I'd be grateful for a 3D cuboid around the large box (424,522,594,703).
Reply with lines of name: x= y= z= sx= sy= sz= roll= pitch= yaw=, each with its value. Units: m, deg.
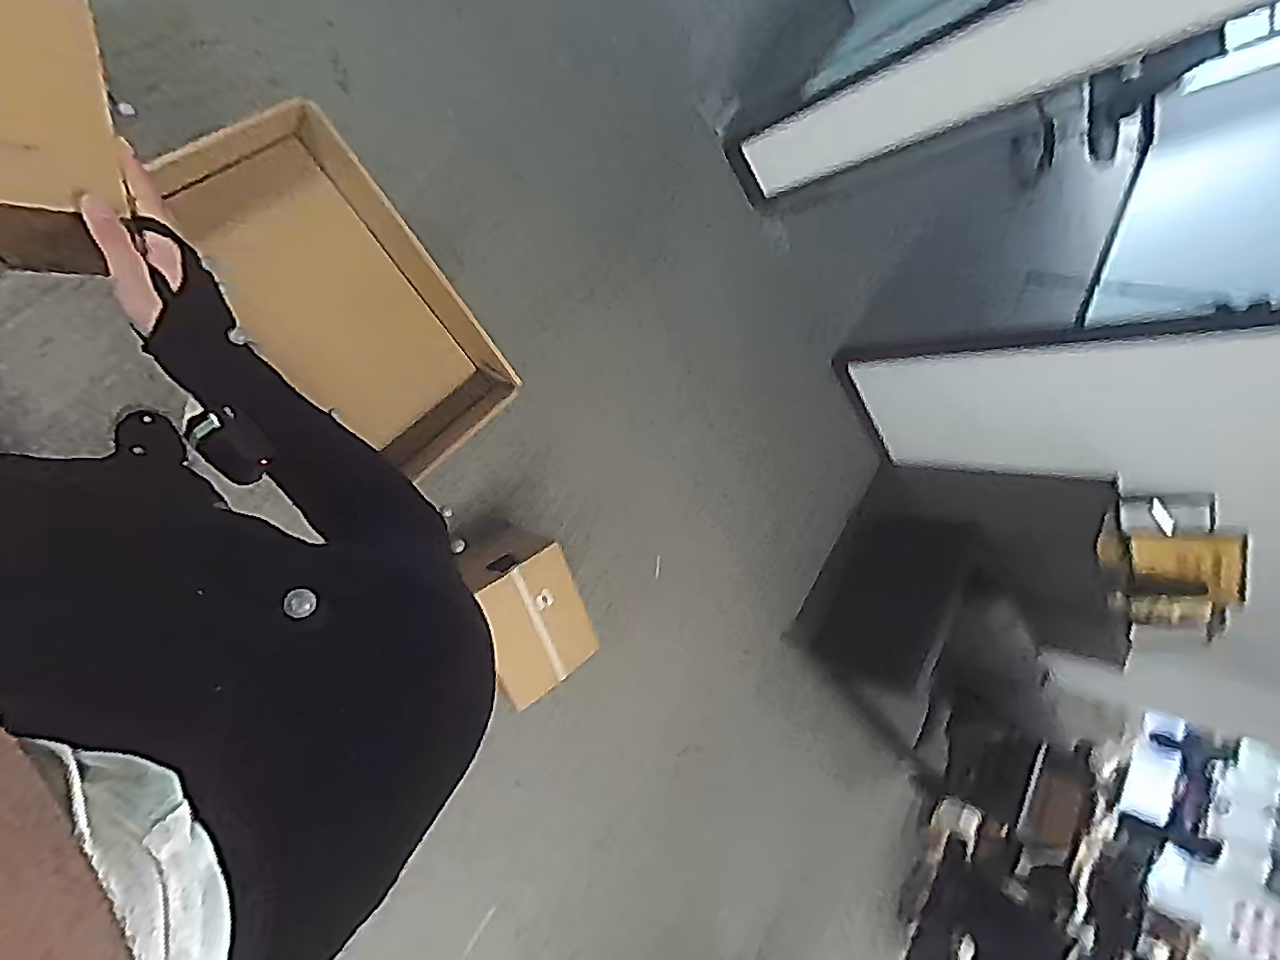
large box: x=-0.406 y=0.394 z=1.683 sx=0.320 sy=0.320 sz=0.408 roll=-32 pitch=114 yaw=-33
